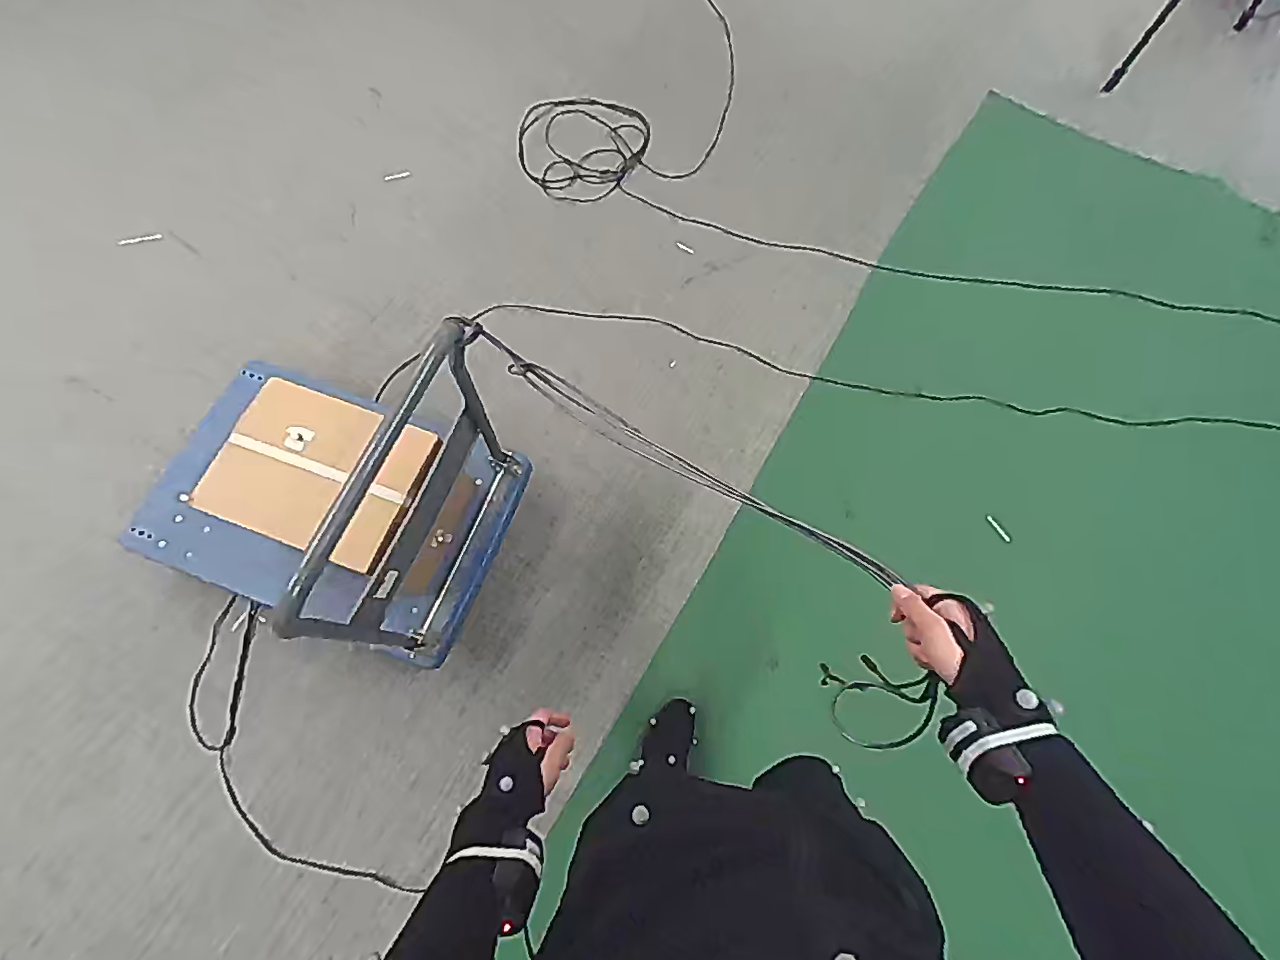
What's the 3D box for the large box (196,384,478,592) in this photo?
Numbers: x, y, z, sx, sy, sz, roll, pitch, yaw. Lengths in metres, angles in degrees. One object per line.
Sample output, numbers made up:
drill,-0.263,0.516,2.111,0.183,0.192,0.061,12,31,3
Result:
large box,-0.649,0.035,1.241,0.408,0.320,0.320,18,70,6
